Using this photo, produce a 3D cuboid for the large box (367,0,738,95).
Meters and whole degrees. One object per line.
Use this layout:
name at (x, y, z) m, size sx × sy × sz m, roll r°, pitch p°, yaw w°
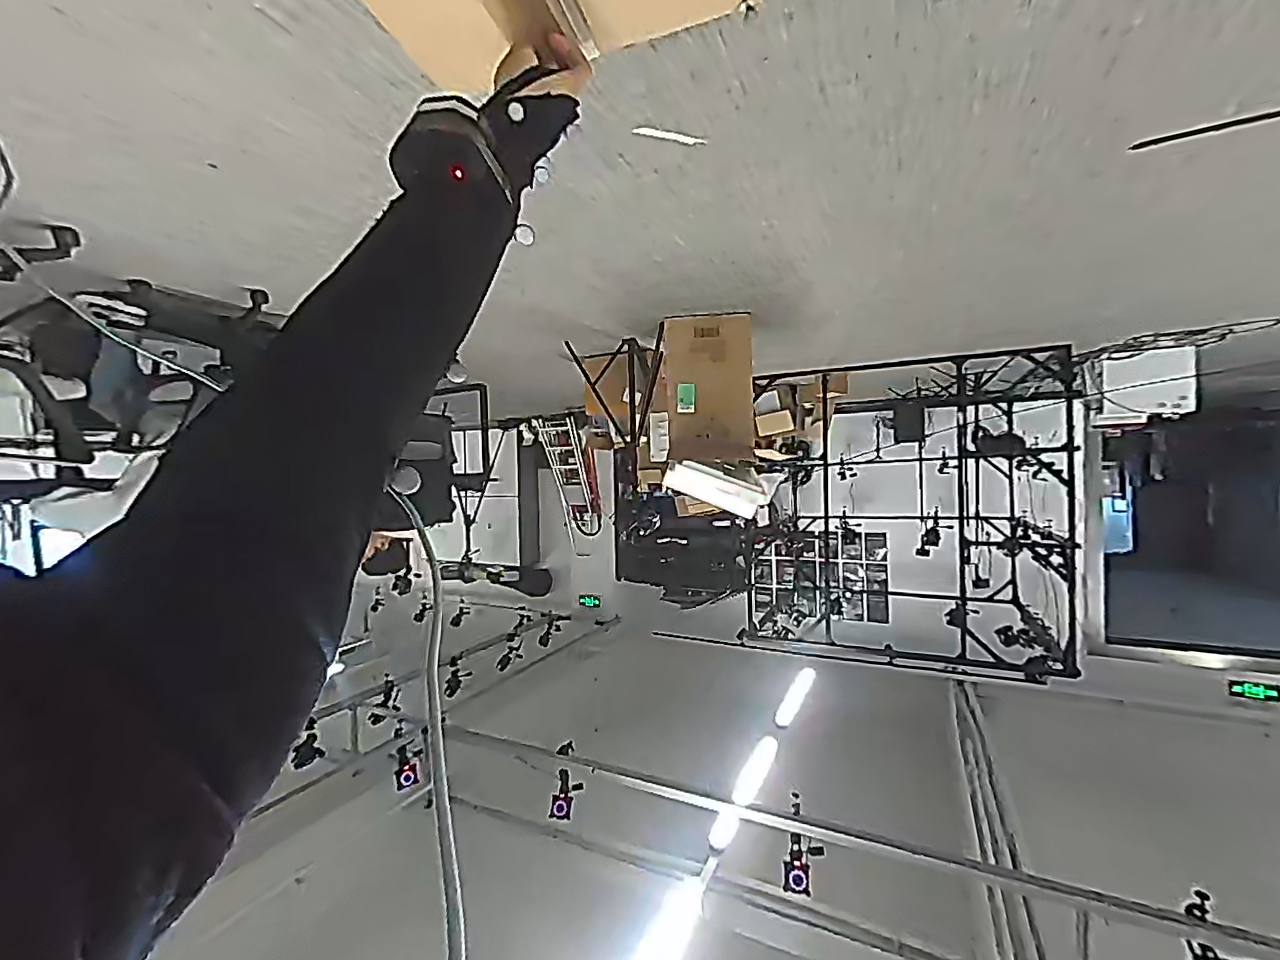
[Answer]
large box at (-0.116, -0.556, 0.322) m, size 0.320 × 0.320 × 0.408 m, roll -2°, pitch 176°, yaw 19°
